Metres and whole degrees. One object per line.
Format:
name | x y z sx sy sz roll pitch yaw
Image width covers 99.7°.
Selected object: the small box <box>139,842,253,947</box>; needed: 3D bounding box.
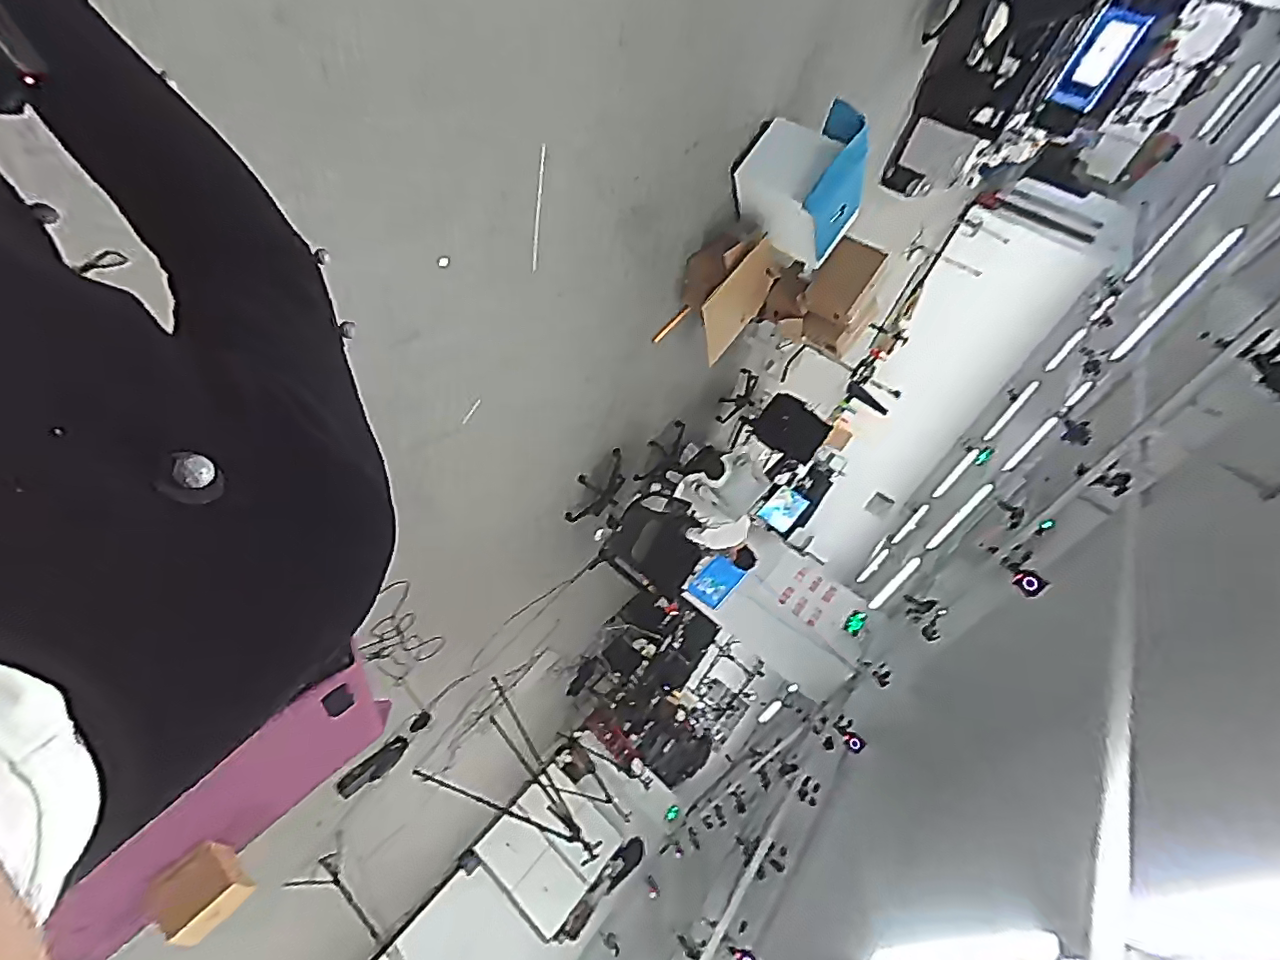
small box | -1.242 1.161 1.520 0.168 0.176 0.179 -40 156 -37
